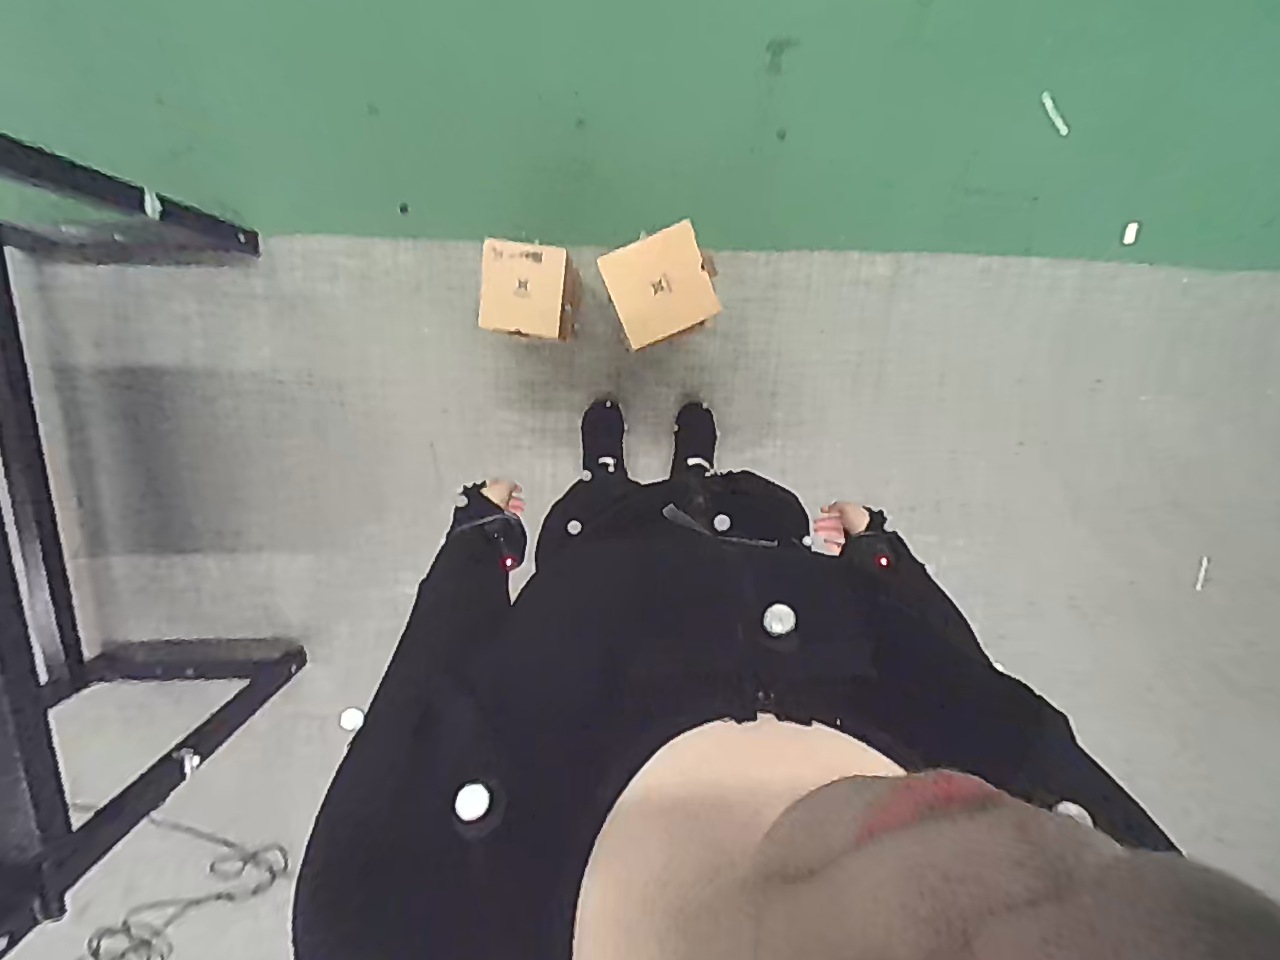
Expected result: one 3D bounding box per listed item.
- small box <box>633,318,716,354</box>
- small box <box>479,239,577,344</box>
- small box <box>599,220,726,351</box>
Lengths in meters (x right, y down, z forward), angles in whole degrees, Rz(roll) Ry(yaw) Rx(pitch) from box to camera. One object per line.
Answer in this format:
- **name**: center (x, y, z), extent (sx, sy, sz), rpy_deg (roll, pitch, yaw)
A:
- **small box**: center (0.047, -0.375, 1.162), extent (0.179, 0.176, 0.168), rpy_deg (-19, 103, 1)
- **small box**: center (-0.231, -0.389, 1.148), extent (0.168, 0.176, 0.179), rpy_deg (8, 101, -2)
- **small box**: center (0.037, -0.347, 1.002), extent (0.179, 0.176, 0.168), rpy_deg (-23, 102, 2)
